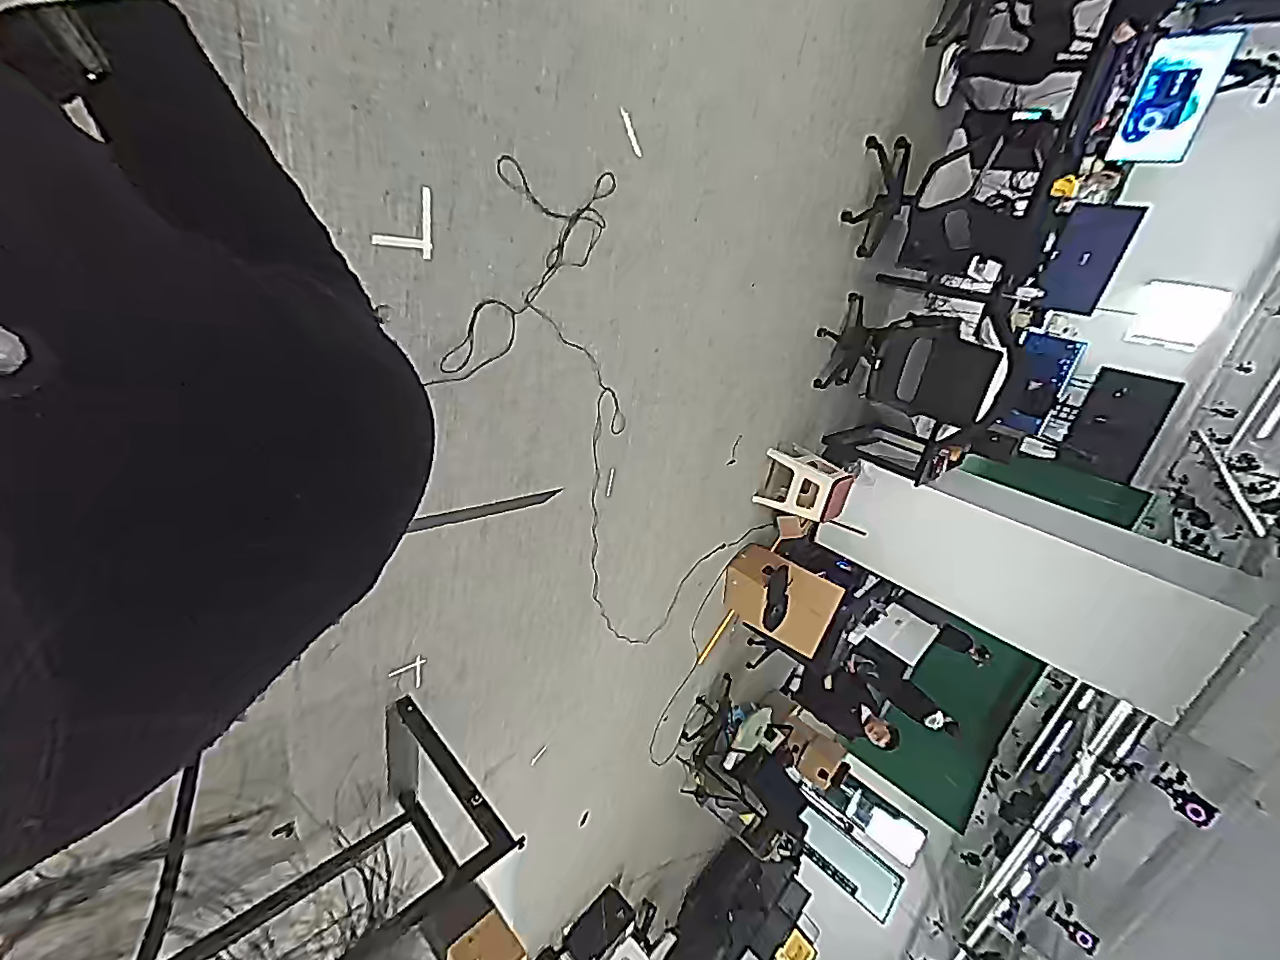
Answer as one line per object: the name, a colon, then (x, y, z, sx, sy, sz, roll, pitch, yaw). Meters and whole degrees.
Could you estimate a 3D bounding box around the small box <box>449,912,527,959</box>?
small box: (-0.456, 1.445, 1.607, 0.168, 0.176, 0.179, -16, 125, -44)
